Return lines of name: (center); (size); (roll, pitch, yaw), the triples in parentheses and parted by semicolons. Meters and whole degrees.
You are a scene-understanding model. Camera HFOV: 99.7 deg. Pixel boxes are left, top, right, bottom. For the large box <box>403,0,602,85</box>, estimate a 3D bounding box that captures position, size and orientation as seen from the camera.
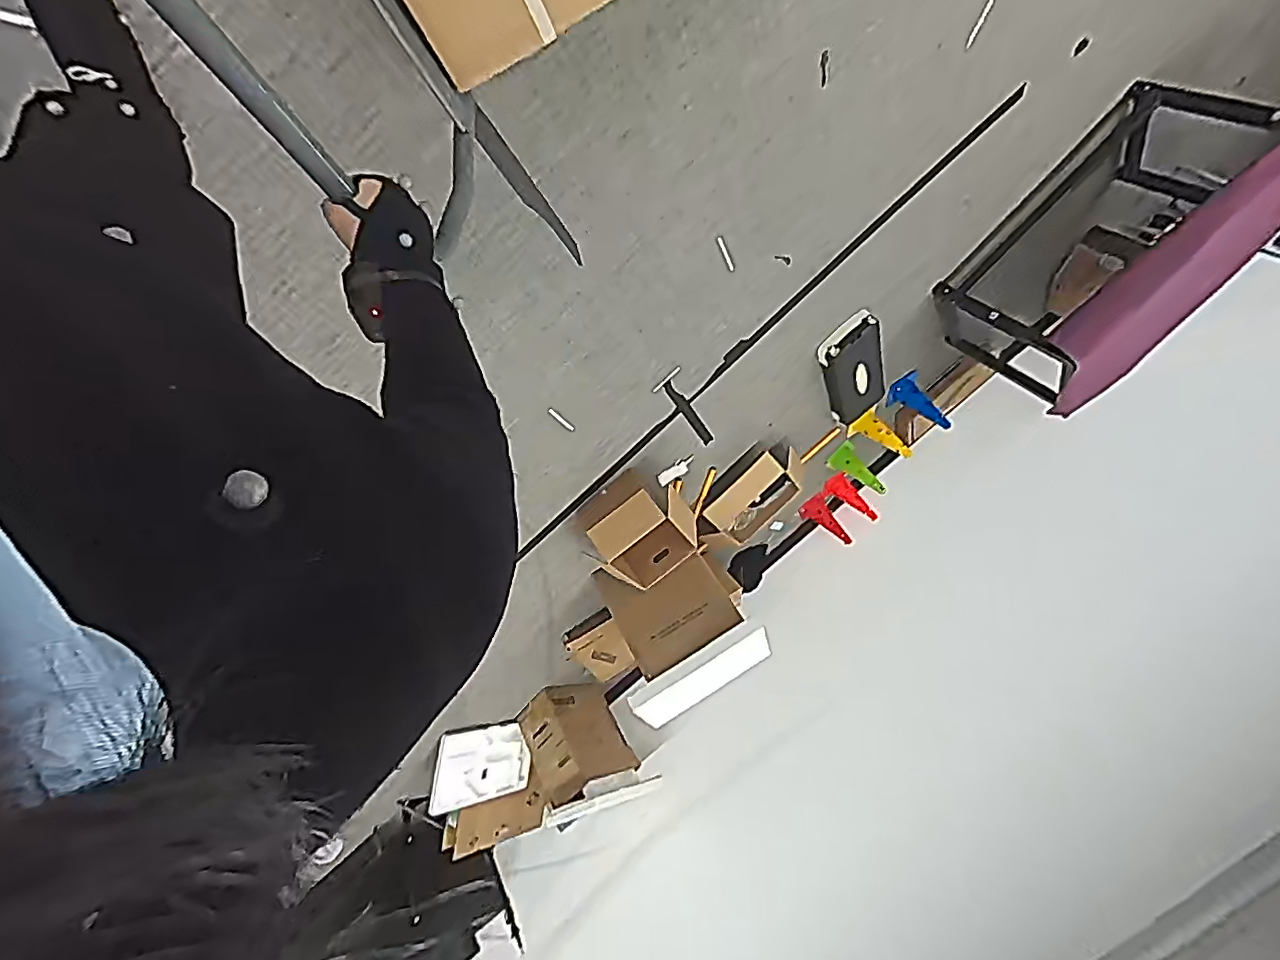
large box: (-0.246, -0.864, 0.712); (0.320, 0.320, 0.408); (-22, 147, 10)
